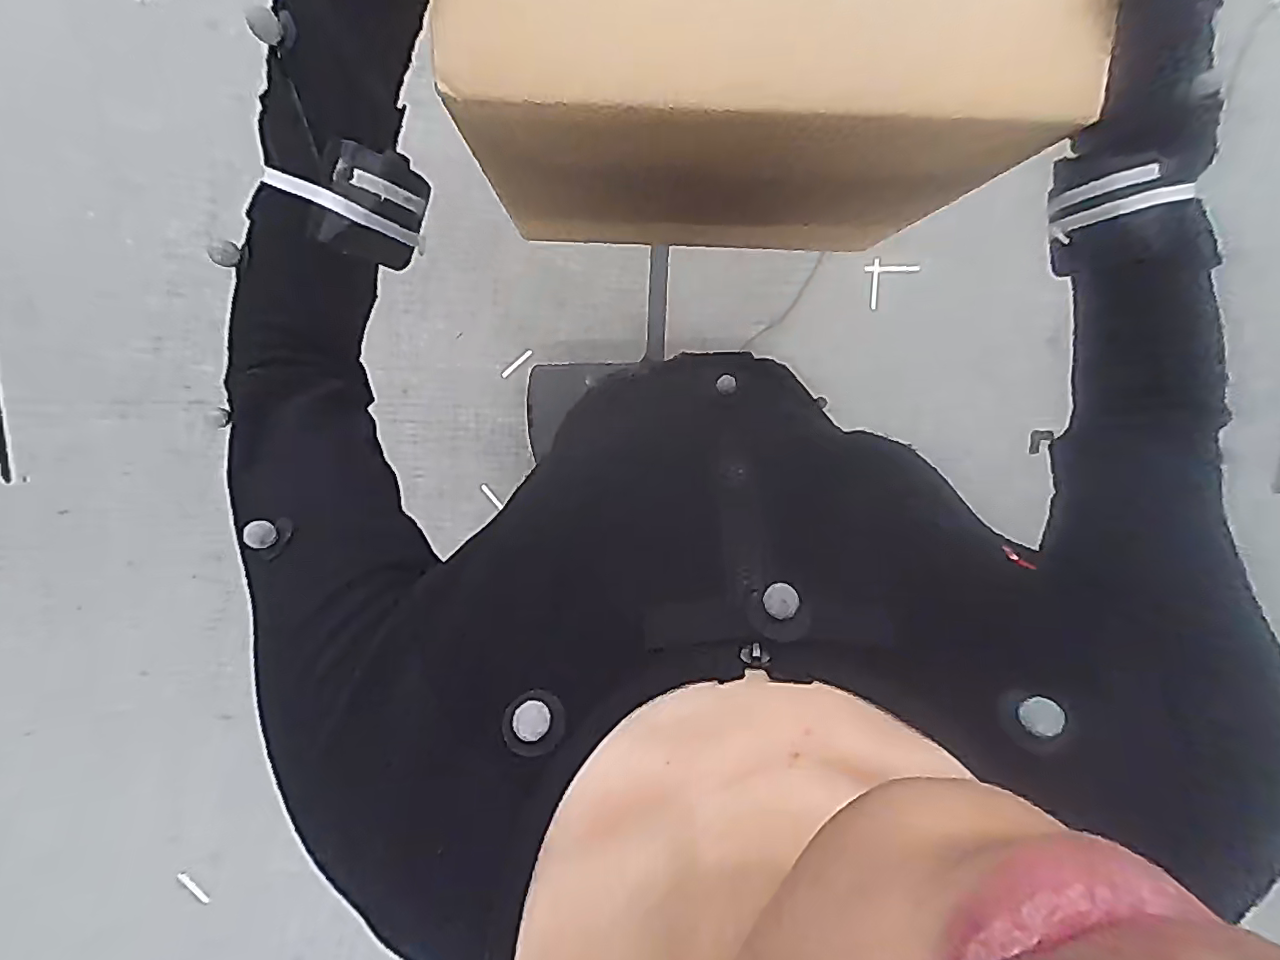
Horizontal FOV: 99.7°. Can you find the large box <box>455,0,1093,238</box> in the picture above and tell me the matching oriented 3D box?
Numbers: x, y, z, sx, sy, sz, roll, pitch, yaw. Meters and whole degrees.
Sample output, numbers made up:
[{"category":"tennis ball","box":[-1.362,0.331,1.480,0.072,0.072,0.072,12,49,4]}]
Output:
[{"category":"large box","box":[0.075,-0.411,0.461,0.408,0.320,0.320,0,100,-4]}]
